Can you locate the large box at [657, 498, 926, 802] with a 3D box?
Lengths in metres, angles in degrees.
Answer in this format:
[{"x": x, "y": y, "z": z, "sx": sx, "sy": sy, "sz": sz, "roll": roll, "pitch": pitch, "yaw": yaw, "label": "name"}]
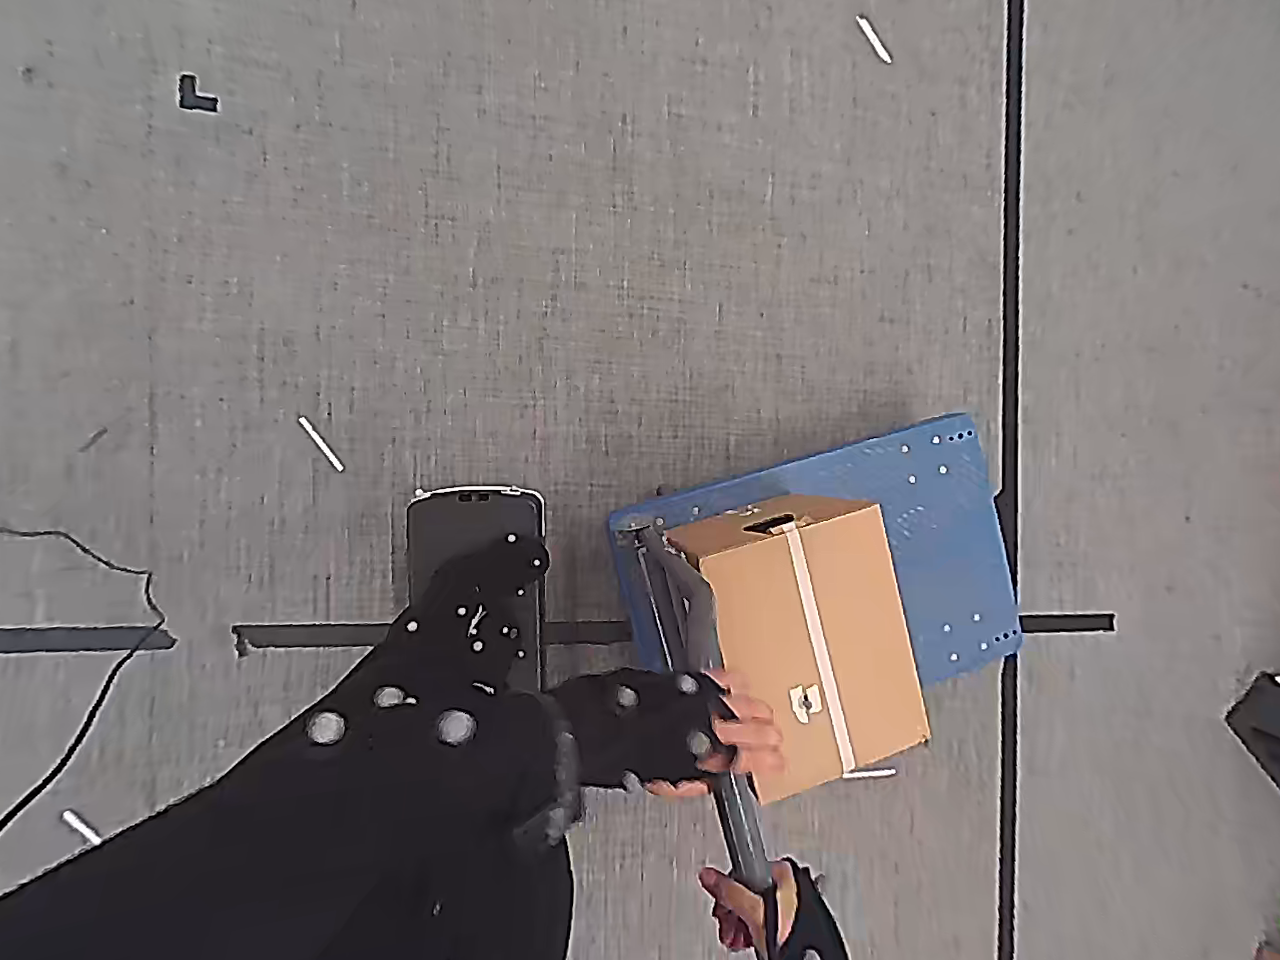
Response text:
[{"x": 0.253, "y": 0.271, "z": 1.001, "sx": 0.320, "sy": 0.320, "sz": 0.408, "roll": -15, "pitch": 94, "yaw": -9, "label": "large box"}]
